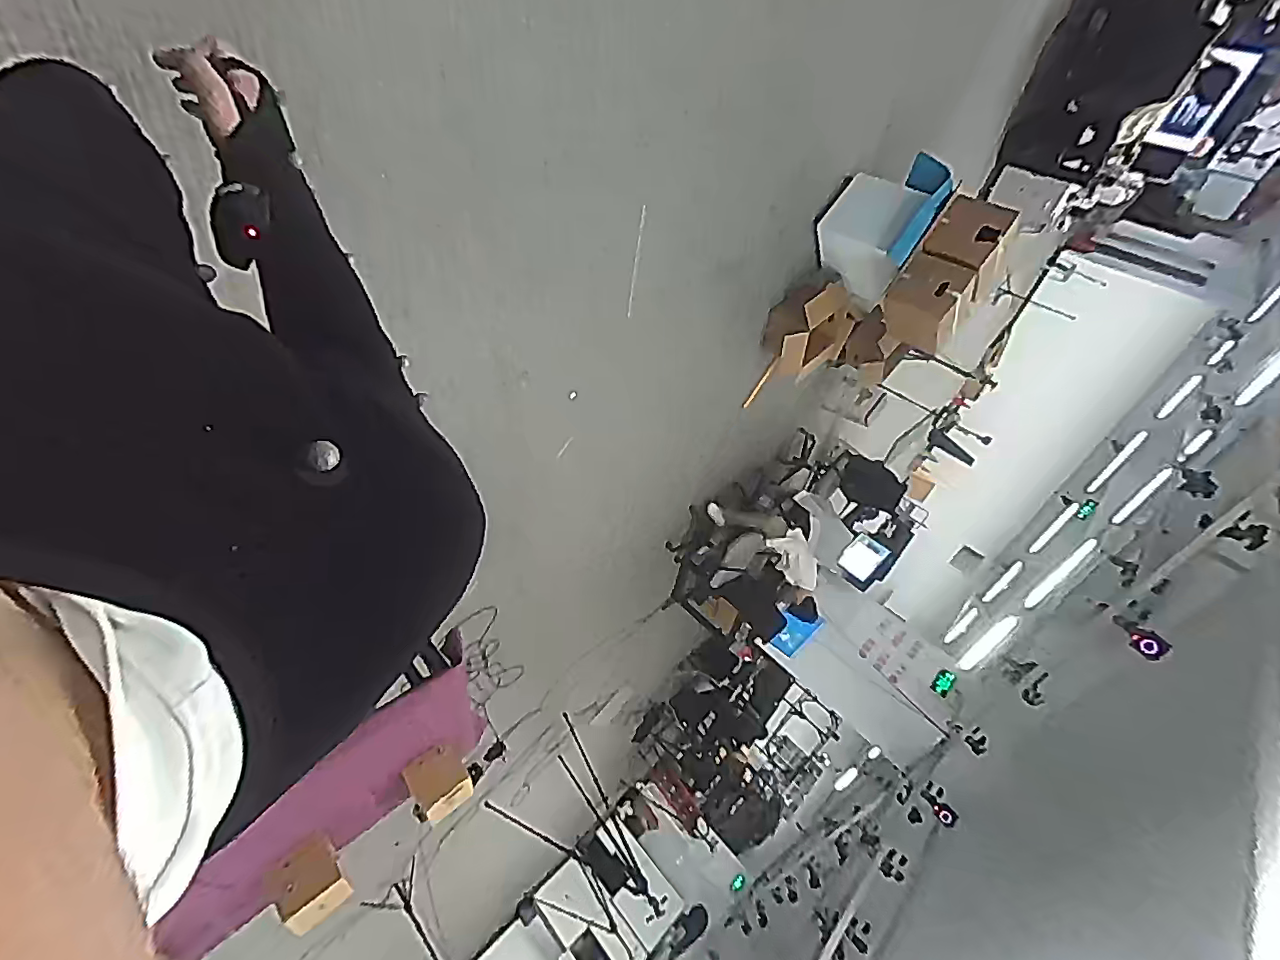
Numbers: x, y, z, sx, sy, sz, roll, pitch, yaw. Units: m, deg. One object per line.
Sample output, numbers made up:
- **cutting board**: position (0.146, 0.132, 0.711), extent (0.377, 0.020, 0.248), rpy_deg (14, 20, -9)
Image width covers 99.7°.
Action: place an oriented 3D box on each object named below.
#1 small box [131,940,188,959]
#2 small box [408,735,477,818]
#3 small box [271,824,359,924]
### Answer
- **small box**: position (-1.293, 1.356, 1.409), extent (0.168, 0.176, 0.179), rpy_deg (-28, 144, -37)
- **small box**: position (-0.695, 1.036, 1.904), extent (0.168, 0.176, 0.179), rpy_deg (-29, 146, -34)
- **small box**: position (-1.000, 1.204, 1.662), extent (0.168, 0.176, 0.179), rpy_deg (-28, 145, -35)
